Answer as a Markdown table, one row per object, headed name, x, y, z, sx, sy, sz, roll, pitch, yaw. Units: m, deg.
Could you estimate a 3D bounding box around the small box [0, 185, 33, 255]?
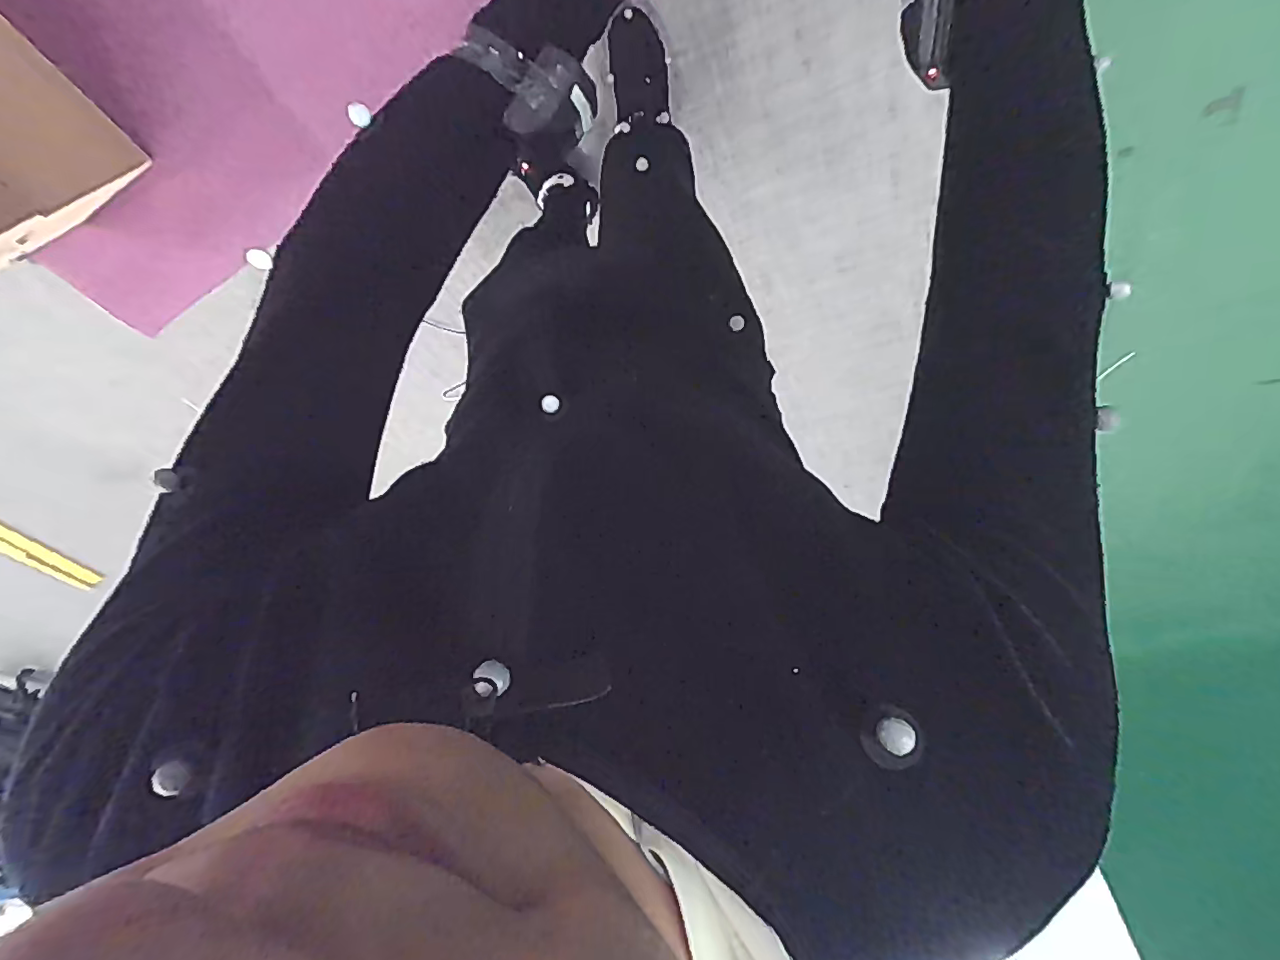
| name | x | y | z | sx | sy | sz | roll | pitch | yaw |
| --- | --- | --- | --- | --- | --- | --- | --- | --- | --- |
| small box | -0.698 | -0.228 | 0.446 | 0.168 | 0.176 | 0.179 | -19 | 134 | 22 |
